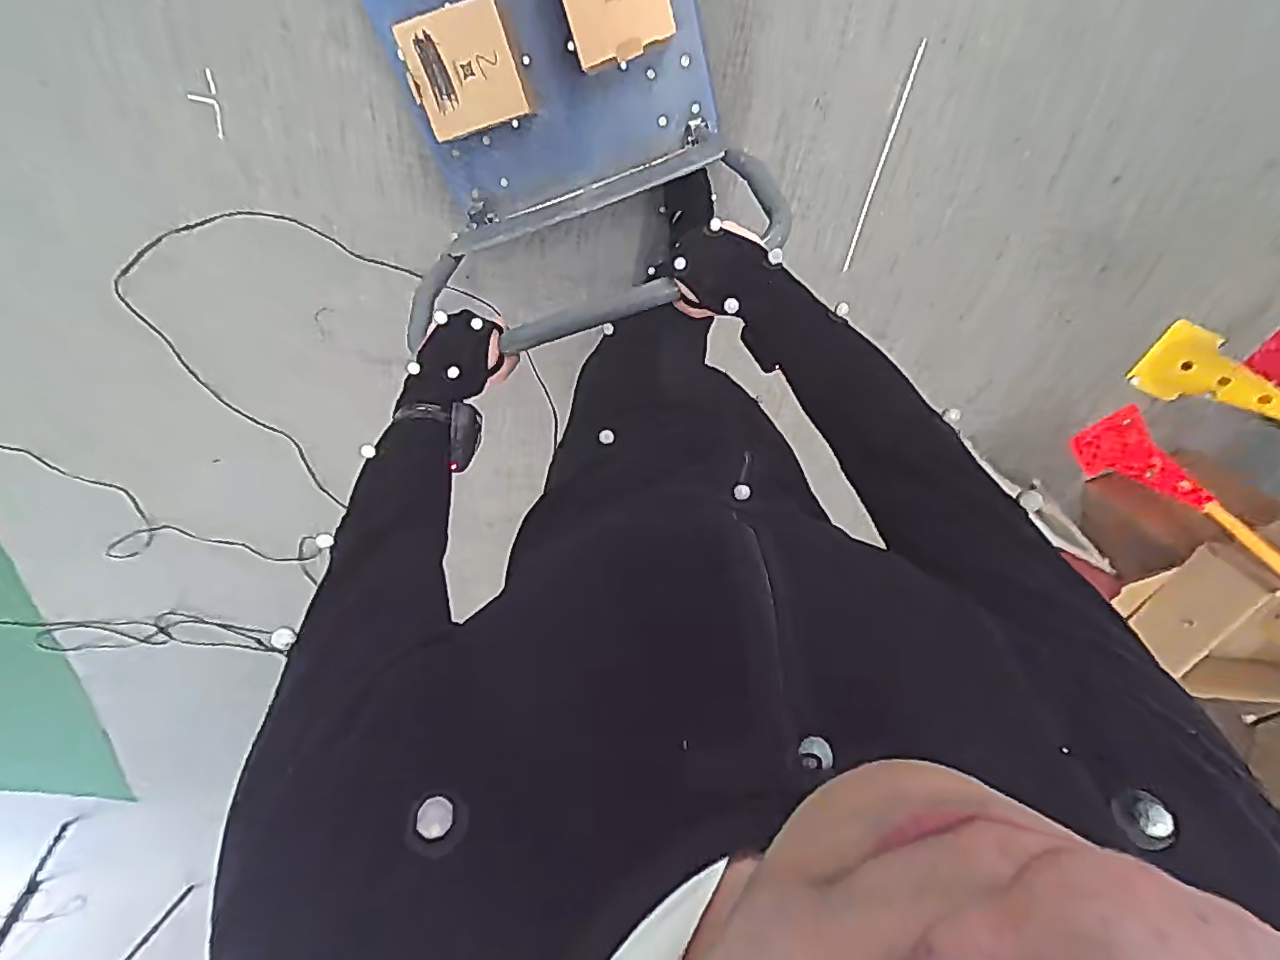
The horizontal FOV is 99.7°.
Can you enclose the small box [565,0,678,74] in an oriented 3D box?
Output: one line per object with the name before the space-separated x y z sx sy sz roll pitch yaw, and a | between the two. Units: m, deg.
small box | -0.044 -0.823 0.918 0.168 0.176 0.179 -16 125 8
